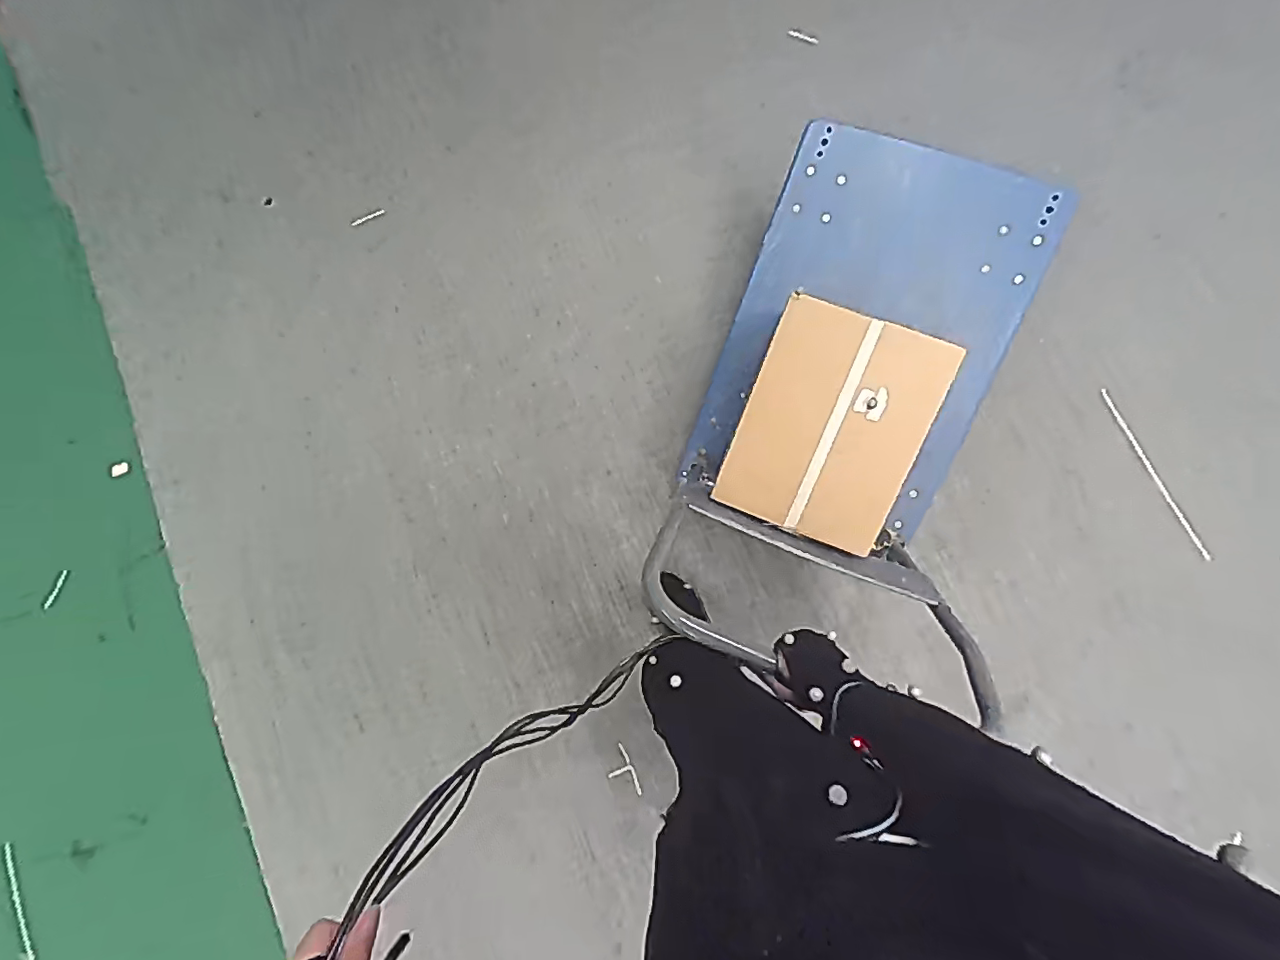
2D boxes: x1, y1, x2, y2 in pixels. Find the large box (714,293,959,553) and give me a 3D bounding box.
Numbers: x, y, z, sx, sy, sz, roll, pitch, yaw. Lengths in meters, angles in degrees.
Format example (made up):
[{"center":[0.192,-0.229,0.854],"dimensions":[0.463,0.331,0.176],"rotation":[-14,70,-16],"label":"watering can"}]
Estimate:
[{"center":[0.374,-0.118,1.127],"dimensions":[0.320,0.320,0.408],"rotation":[22,102,7],"label":"large box"}]
